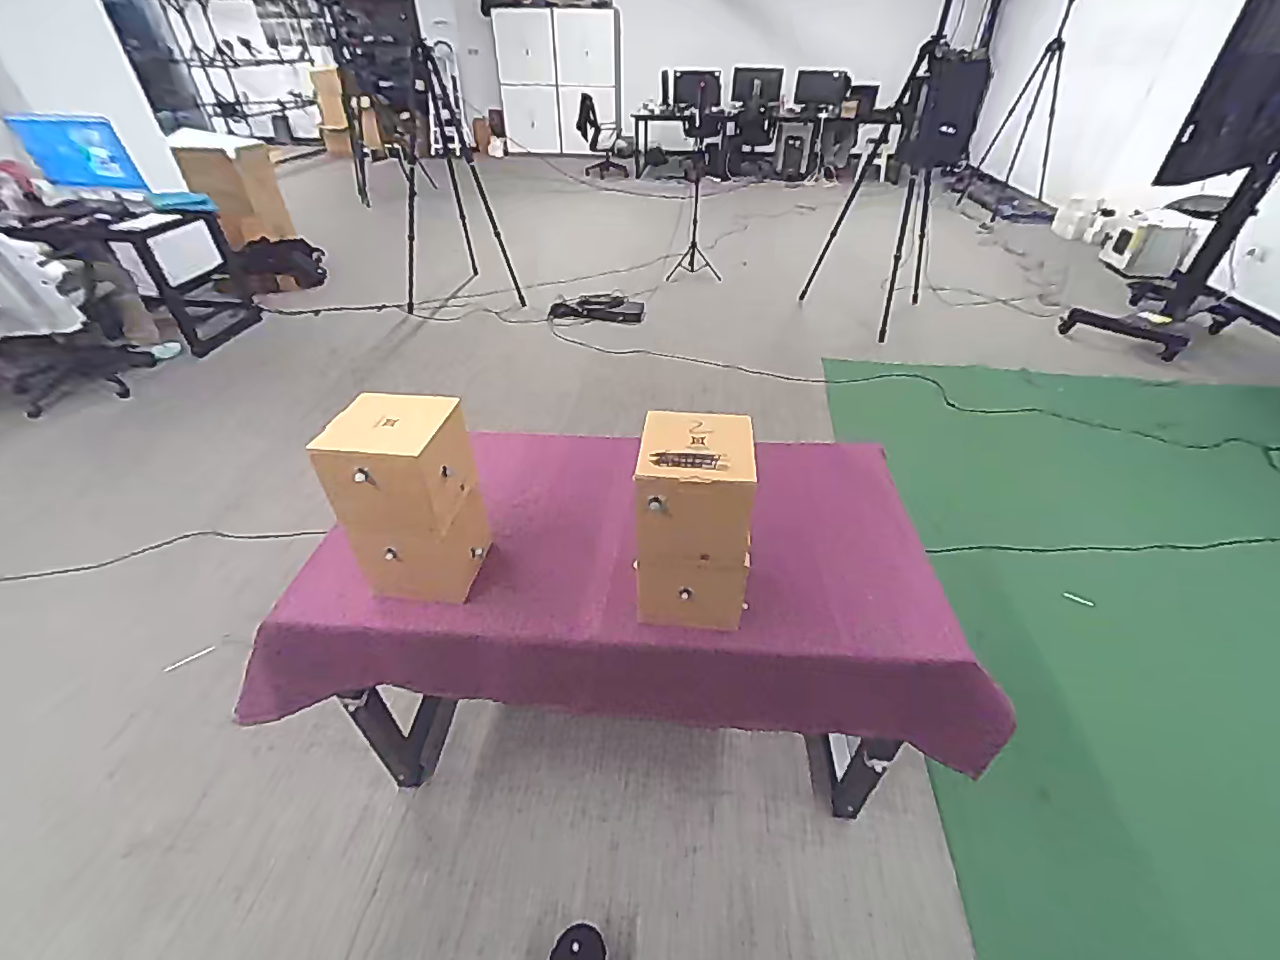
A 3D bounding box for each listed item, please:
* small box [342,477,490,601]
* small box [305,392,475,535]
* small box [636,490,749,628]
[{"bbox_3d":[-0.393,0.101,0.985,0.179,0.176,0.168,5,40,5],"label":"small box"},{"bbox_3d":[-0.389,-0.025,0.883,0.179,0.176,0.168,3,39,6],"label":"small box"},{"bbox_3d":[0.090,0.137,0.939,0.179,0.176,0.168,3,39,6],"label":"small box"}]
